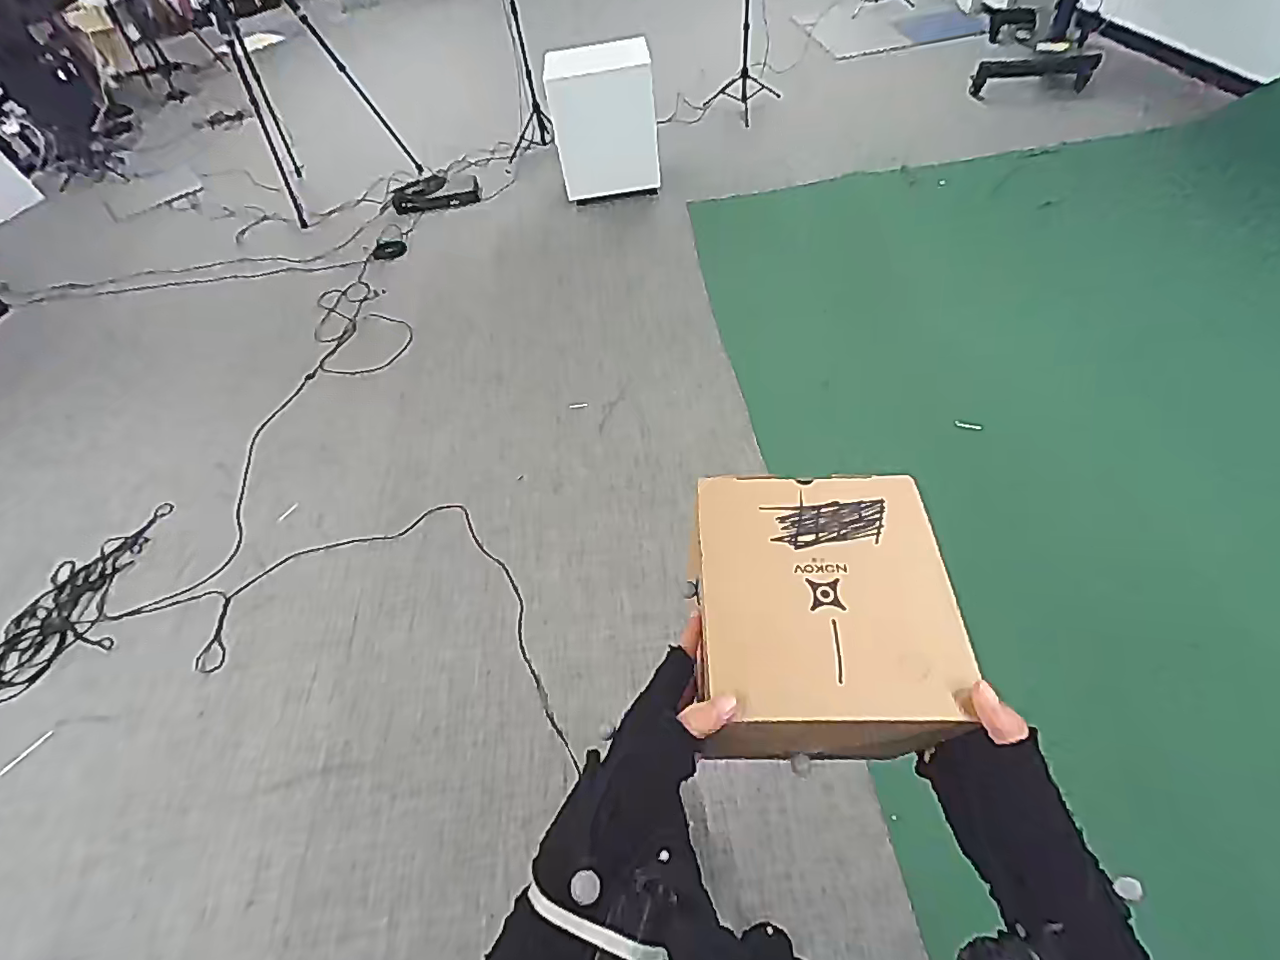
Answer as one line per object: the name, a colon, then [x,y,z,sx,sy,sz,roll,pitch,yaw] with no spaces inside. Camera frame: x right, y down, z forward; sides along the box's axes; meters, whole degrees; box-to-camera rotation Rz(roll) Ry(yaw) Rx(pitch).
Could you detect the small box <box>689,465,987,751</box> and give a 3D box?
small box: [0.127,0.106,0.433,0.168,0.176,0.179,-1,56,2]
